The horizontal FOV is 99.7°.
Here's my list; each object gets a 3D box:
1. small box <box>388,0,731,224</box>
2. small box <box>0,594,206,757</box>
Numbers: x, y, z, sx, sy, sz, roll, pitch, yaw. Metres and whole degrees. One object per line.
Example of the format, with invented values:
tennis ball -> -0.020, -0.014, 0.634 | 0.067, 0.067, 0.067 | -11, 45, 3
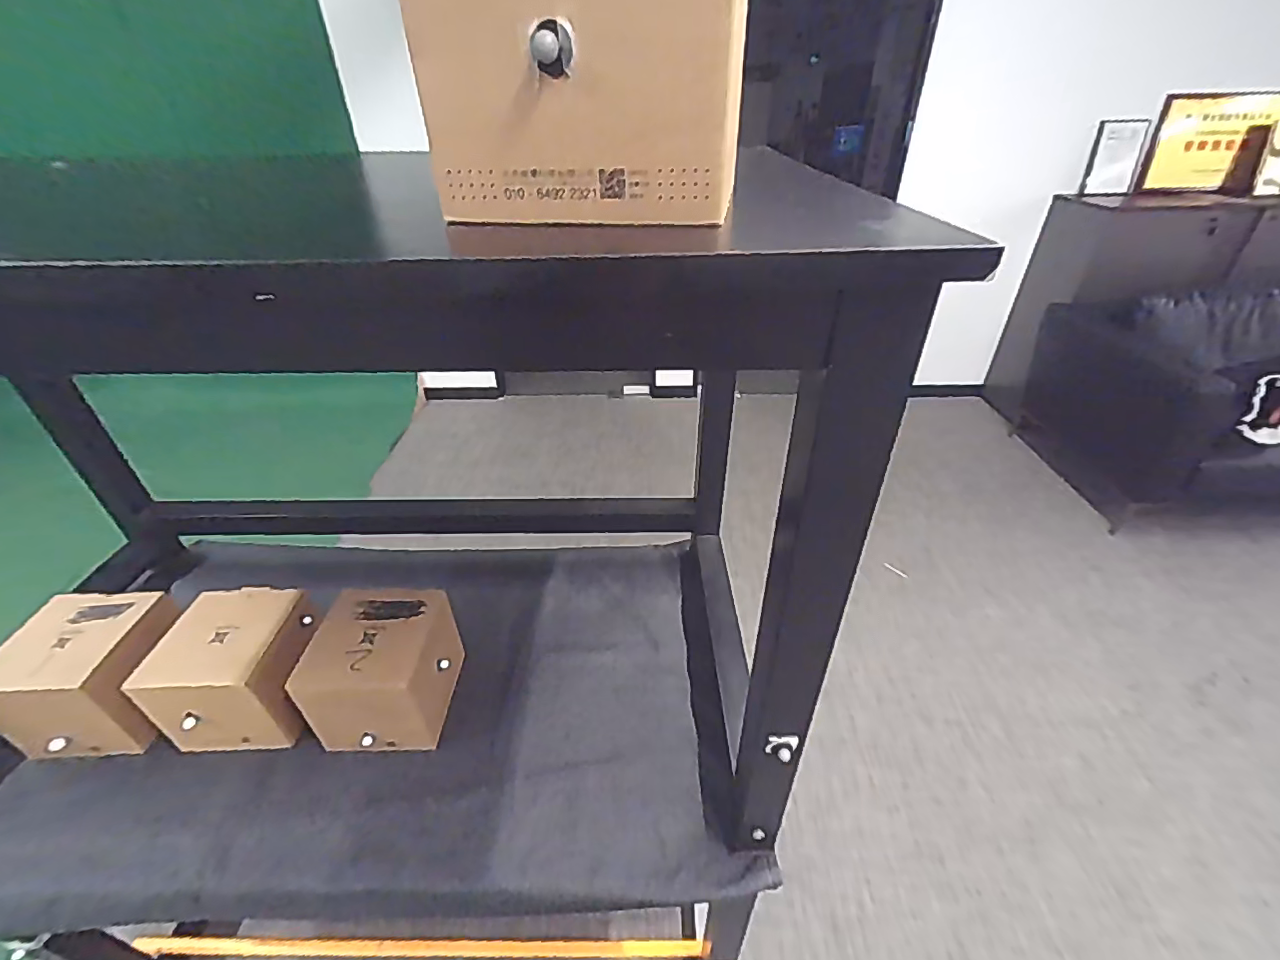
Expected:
small box -> -0.031, -0.261, 0.332 | 0.168, 0.176, 0.179 | 5, 35, 9
small box -> -0.823, 0.298, 0.834 | 0.168, 0.176, 0.179 | -2, 35, -1
